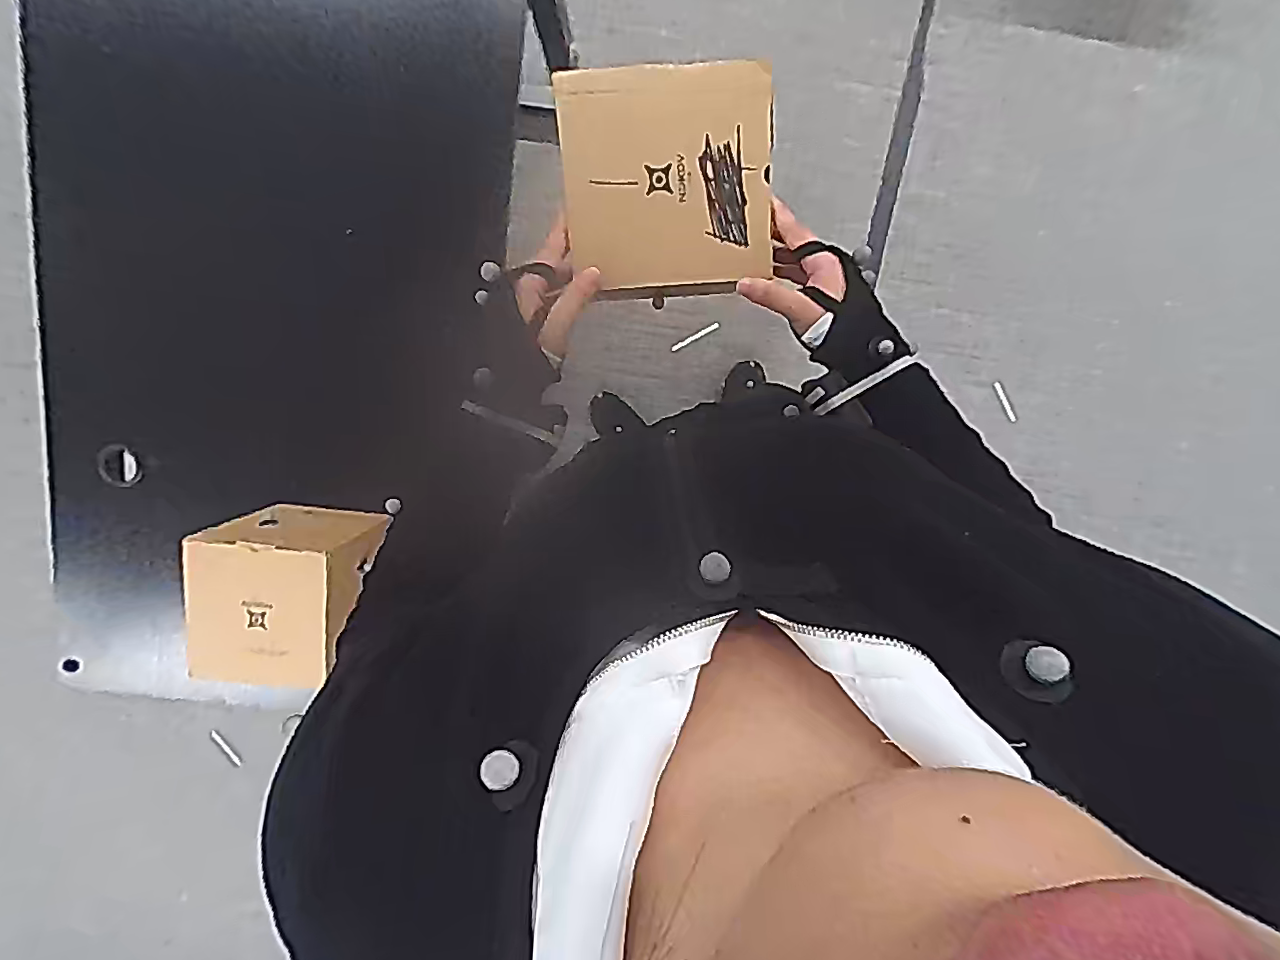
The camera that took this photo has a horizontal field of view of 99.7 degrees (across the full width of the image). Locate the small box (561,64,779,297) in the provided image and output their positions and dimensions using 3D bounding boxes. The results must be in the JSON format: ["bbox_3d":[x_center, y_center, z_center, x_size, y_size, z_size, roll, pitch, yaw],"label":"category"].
[{"bbox_3d":[0.023,-0.269,0.523,0.179,0.176,0.168,-3,106,-1],"label":"small box"}]

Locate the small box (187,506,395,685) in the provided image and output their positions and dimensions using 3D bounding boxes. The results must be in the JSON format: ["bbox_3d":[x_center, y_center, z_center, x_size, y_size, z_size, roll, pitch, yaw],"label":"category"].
[{"bbox_3d":[-0.440,0.139,0.708,0.168,0.176,0.179,5,101,0],"label":"small box"}]
